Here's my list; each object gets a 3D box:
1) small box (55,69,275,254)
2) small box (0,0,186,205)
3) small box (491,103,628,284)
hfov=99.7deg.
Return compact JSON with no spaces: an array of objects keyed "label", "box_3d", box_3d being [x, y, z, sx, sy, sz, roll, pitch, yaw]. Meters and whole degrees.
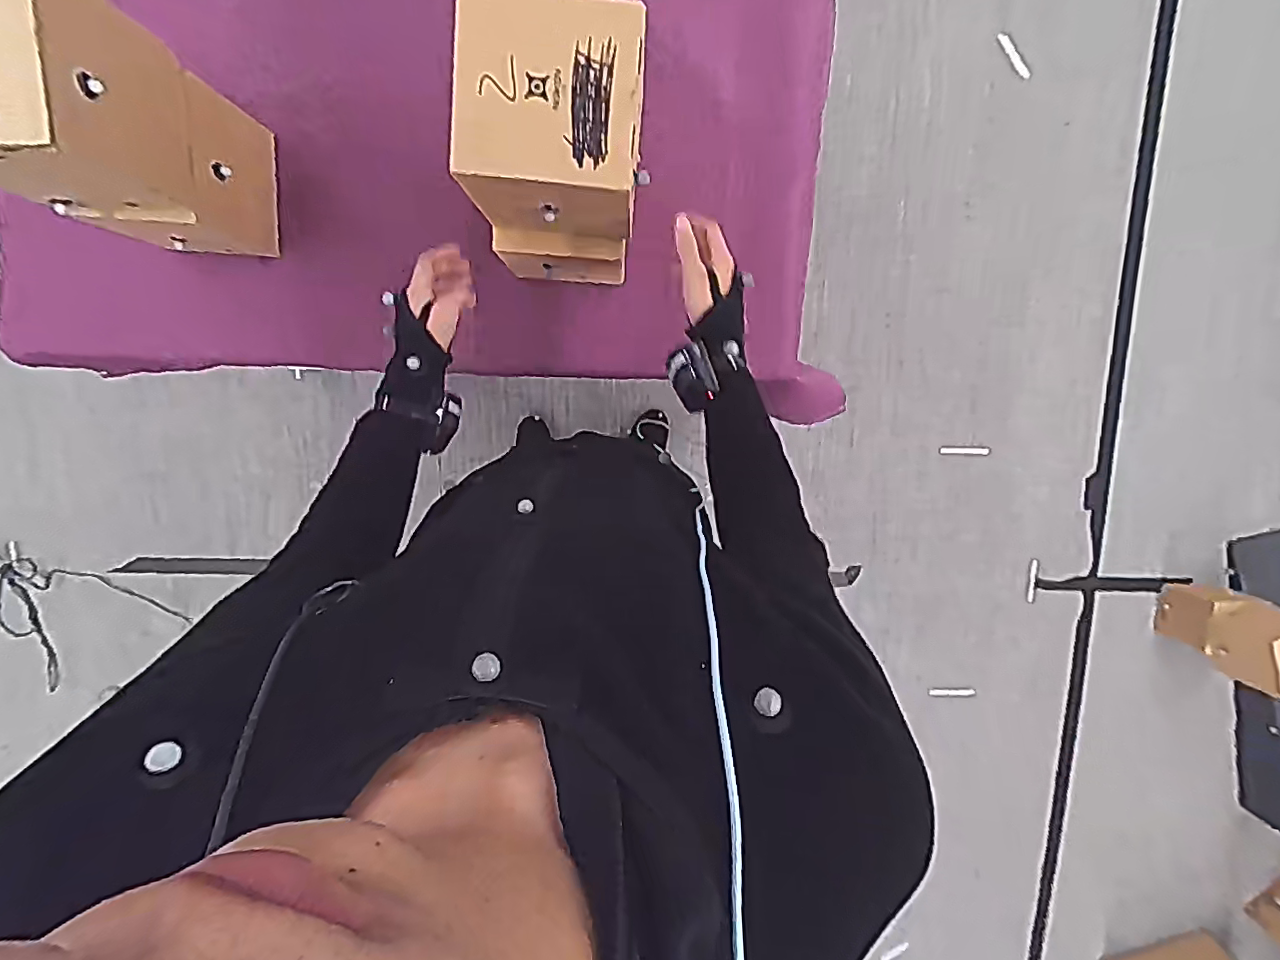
[{"label":"small box","box_3d":[-0.622,-0.415,0.723,0.168,0.176,0.179,4,99,-3]},{"label":"small box","box_3d":[-0.619,-0.401,0.559,0.168,0.176,0.179,-1,98,-3]},{"label":"small box","box_3d":[-0.104,-0.381,0.752,0.168,0.176,0.179,4,98,-2]}]
